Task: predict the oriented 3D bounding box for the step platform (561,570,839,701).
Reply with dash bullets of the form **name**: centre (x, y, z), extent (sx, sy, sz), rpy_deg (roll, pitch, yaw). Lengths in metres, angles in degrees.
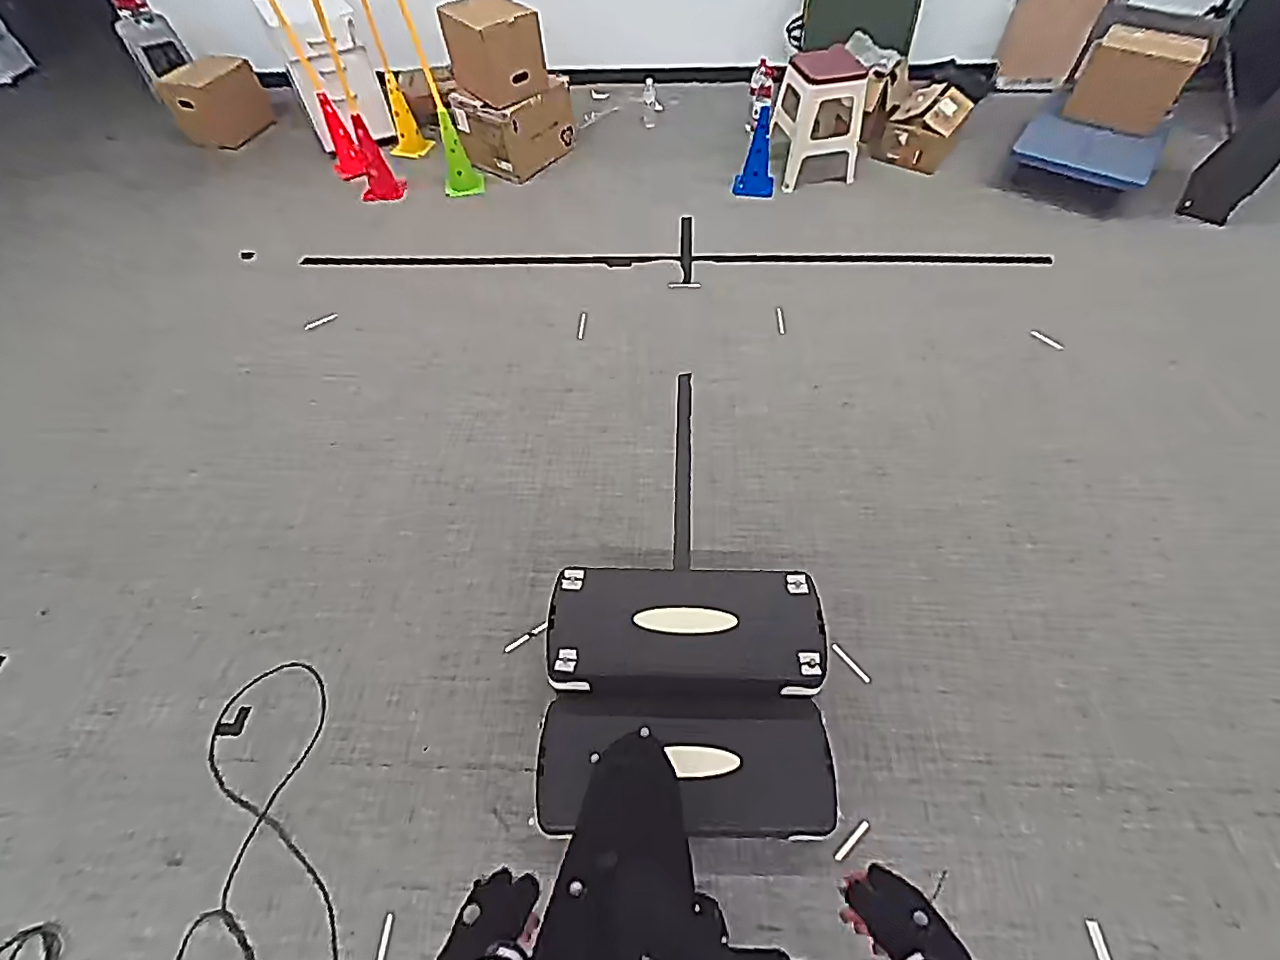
- **step platform**: centre (0.143, 0.392, 1.378), extent (0.684, 0.204, 0.286), rpy_deg (0, 56, 1)
